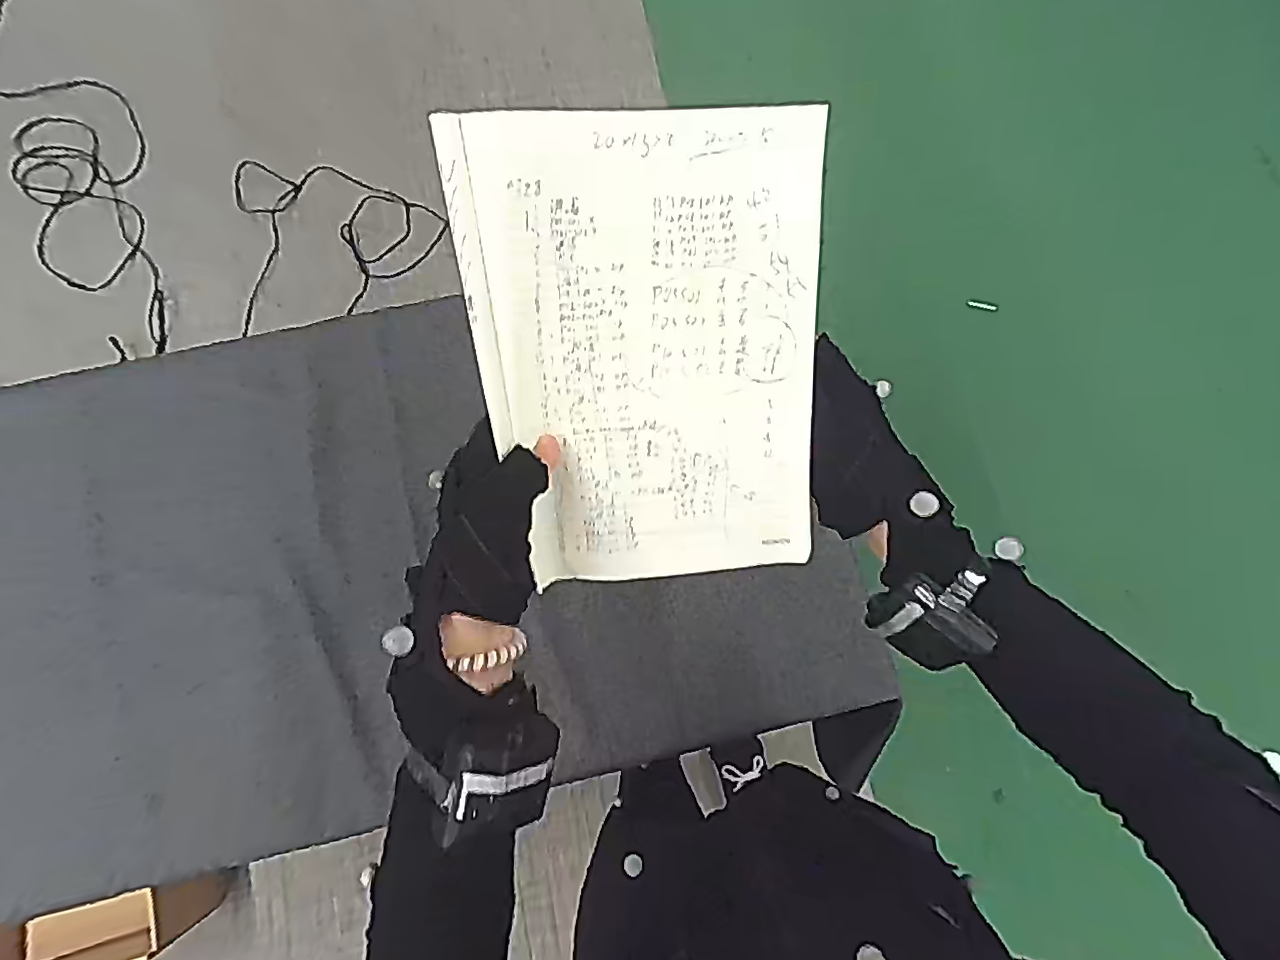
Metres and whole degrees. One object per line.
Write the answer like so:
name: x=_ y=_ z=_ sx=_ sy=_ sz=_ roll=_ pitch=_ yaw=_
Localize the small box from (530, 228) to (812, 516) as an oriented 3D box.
small box: x=0.015 y=-0.072 z=0.452 sx=0.168 sy=0.176 sz=0.179 roll=-15 pitch=88 yaw=-4
